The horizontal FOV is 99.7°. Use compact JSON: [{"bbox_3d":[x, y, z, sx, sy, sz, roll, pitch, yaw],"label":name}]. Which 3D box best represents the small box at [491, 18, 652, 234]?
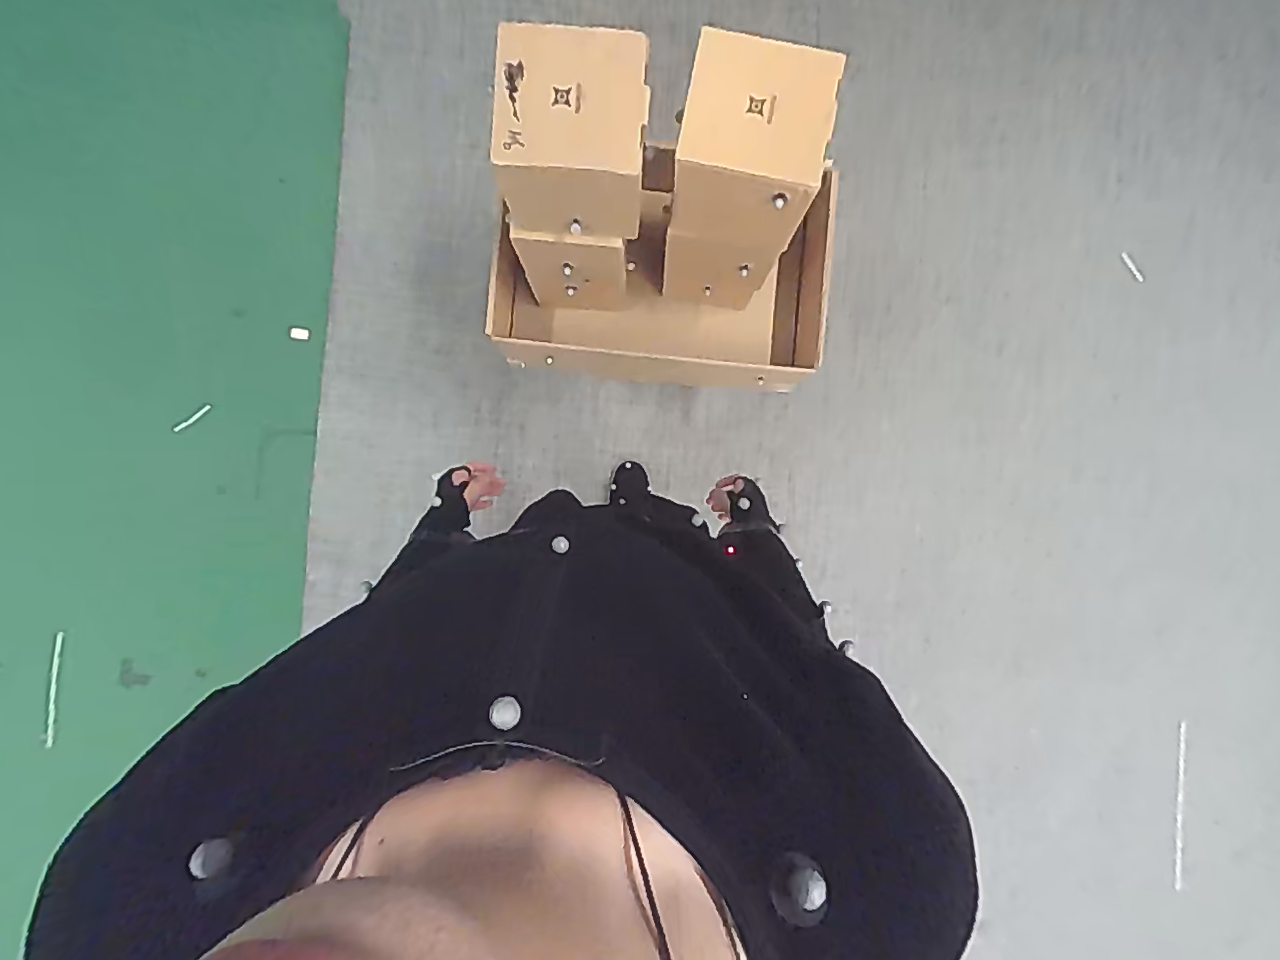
[{"bbox_3d":[-0.082,-0.437,0.697,0.179,0.176,0.168,4,90,-2],"label":"small box"}]
